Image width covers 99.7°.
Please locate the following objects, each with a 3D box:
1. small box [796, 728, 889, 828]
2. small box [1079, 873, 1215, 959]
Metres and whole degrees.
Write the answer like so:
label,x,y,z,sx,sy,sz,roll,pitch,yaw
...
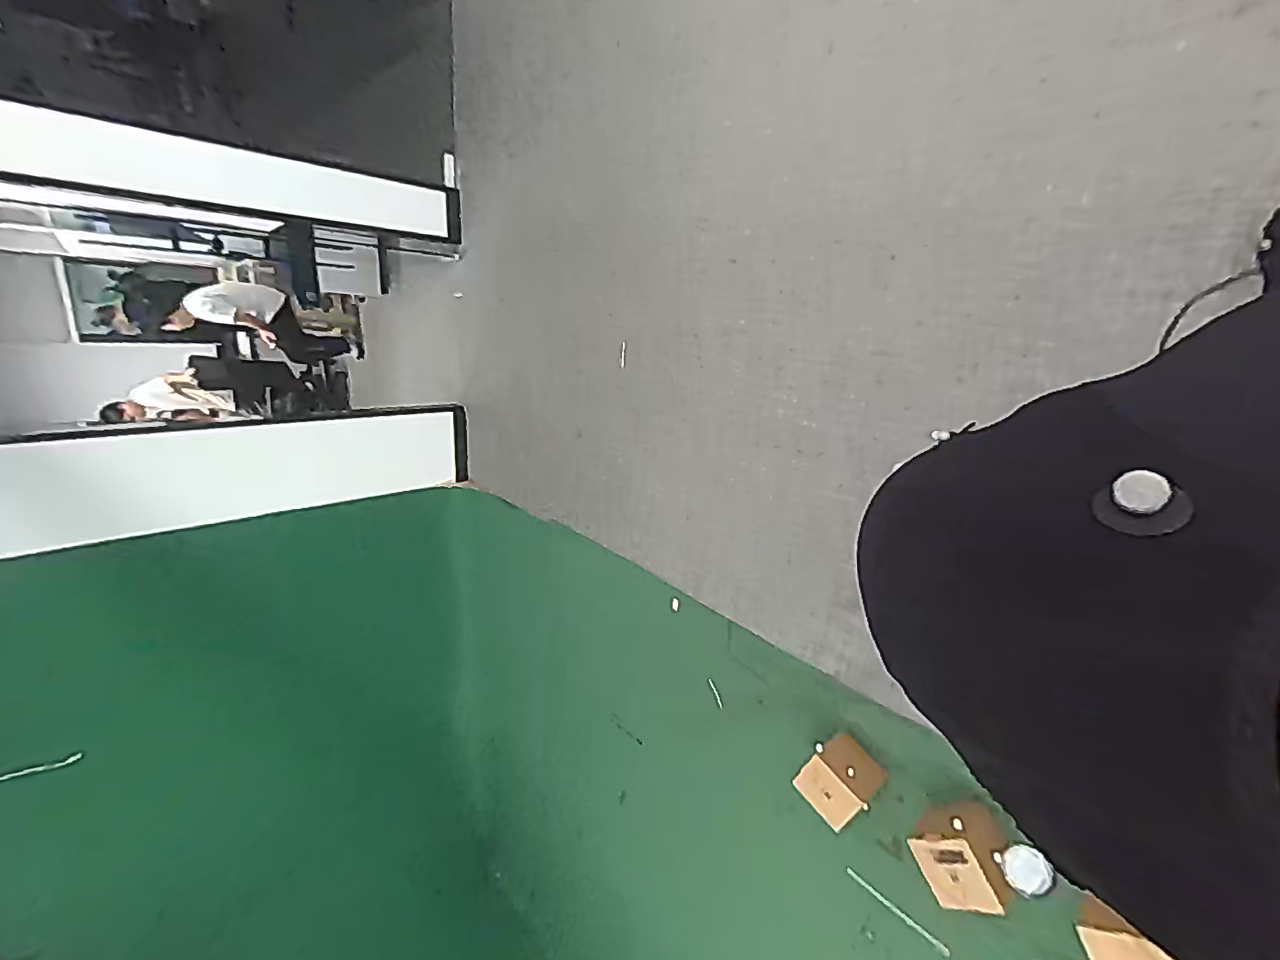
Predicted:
label,x,y,z,sx,sy,sz,roll,pitch,yaw
small box,0.622,0.904,1.655,0.179,0.176,0.168,43,127,34
small box,1.095,0.999,1.161,0.168,0.176,0.179,-30,76,47
